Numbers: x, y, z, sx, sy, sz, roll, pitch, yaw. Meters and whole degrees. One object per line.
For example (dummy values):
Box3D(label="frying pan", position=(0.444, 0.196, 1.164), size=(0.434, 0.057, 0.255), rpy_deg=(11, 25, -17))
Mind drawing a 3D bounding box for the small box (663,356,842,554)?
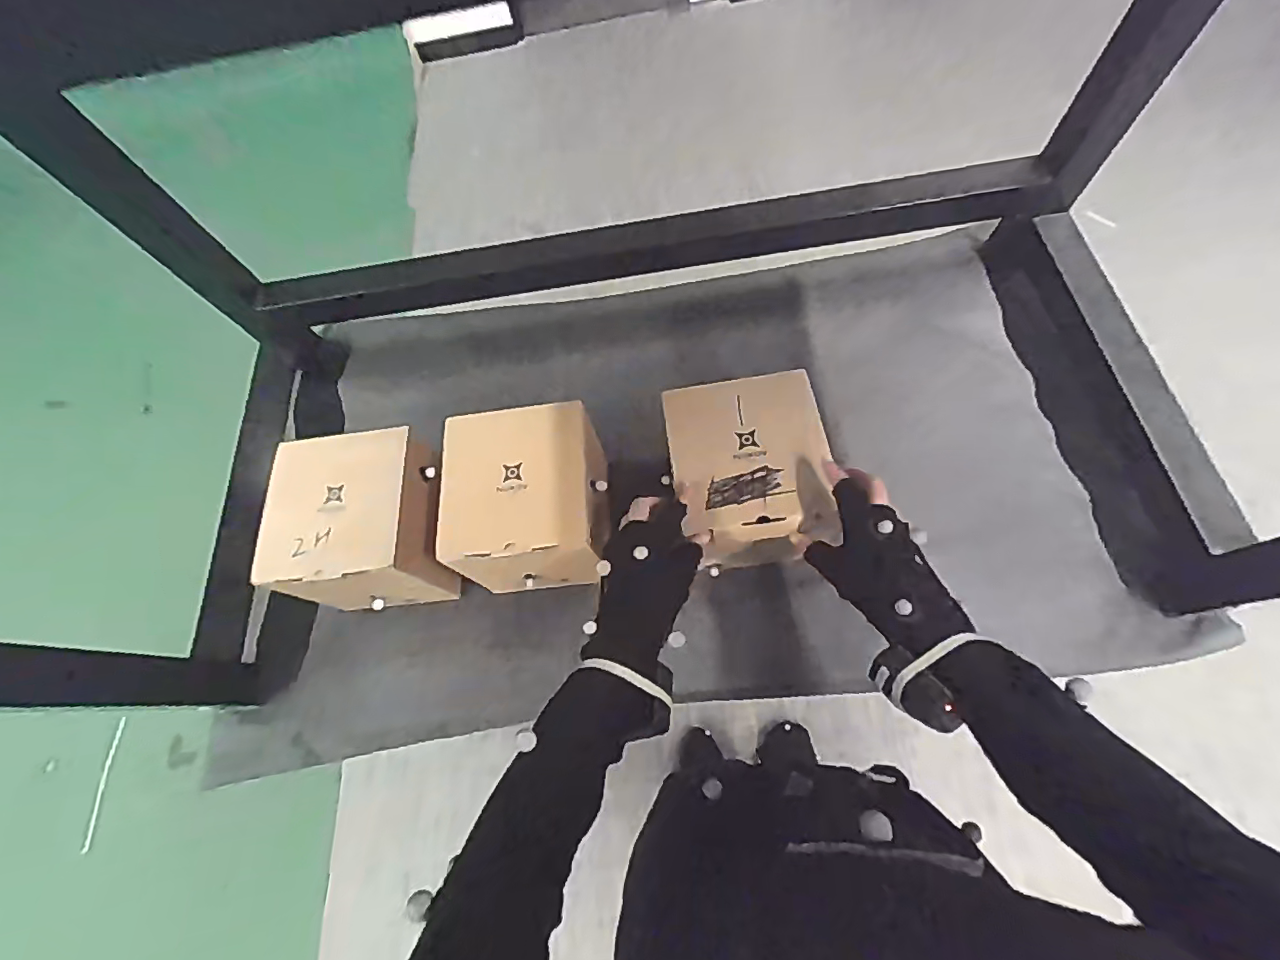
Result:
Box3D(label="small box", position=(0.125, -0.017, 0.646), size=(0.168, 0.176, 0.179), rpy_deg=(-9, 66, 5))
